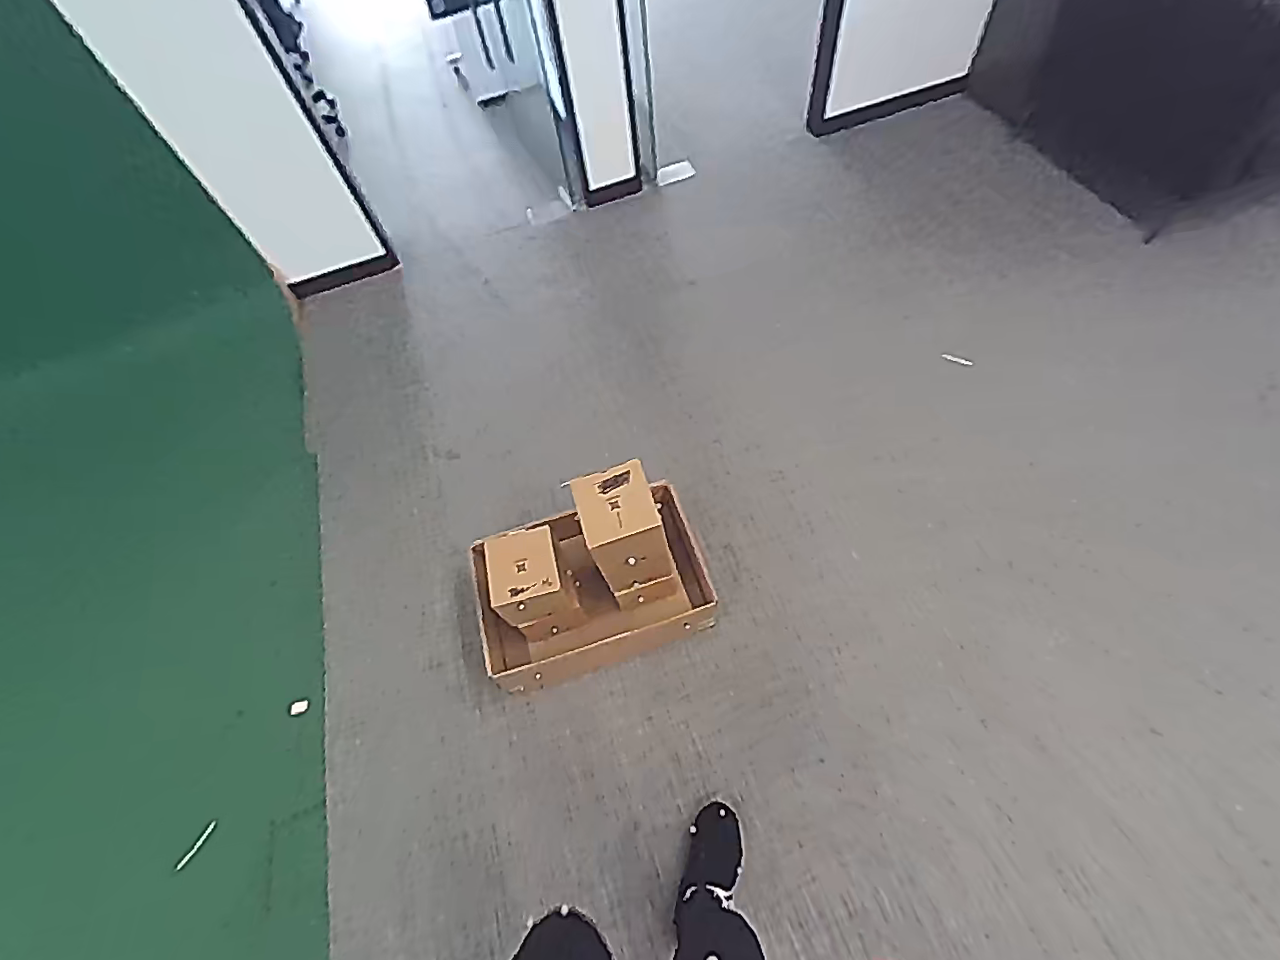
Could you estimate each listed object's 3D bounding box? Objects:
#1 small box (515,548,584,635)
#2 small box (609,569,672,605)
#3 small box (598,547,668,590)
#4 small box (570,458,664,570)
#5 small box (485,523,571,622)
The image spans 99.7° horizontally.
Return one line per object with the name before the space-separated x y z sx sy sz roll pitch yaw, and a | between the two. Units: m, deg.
small box | -0.263 0.318 1.506 0.168 0.176 0.179 -18 61 -7
small box | -0.013 0.240 1.528 0.168 0.176 0.179 -18 60 -4
small box | -0.032 0.158 1.388 0.168 0.176 0.179 -17 61 -2
small box | -0.049 0.083 1.244 0.168 0.176 0.179 -18 61 -2
small box | -0.280 0.235 1.364 0.168 0.176 0.179 -14 59 -2
